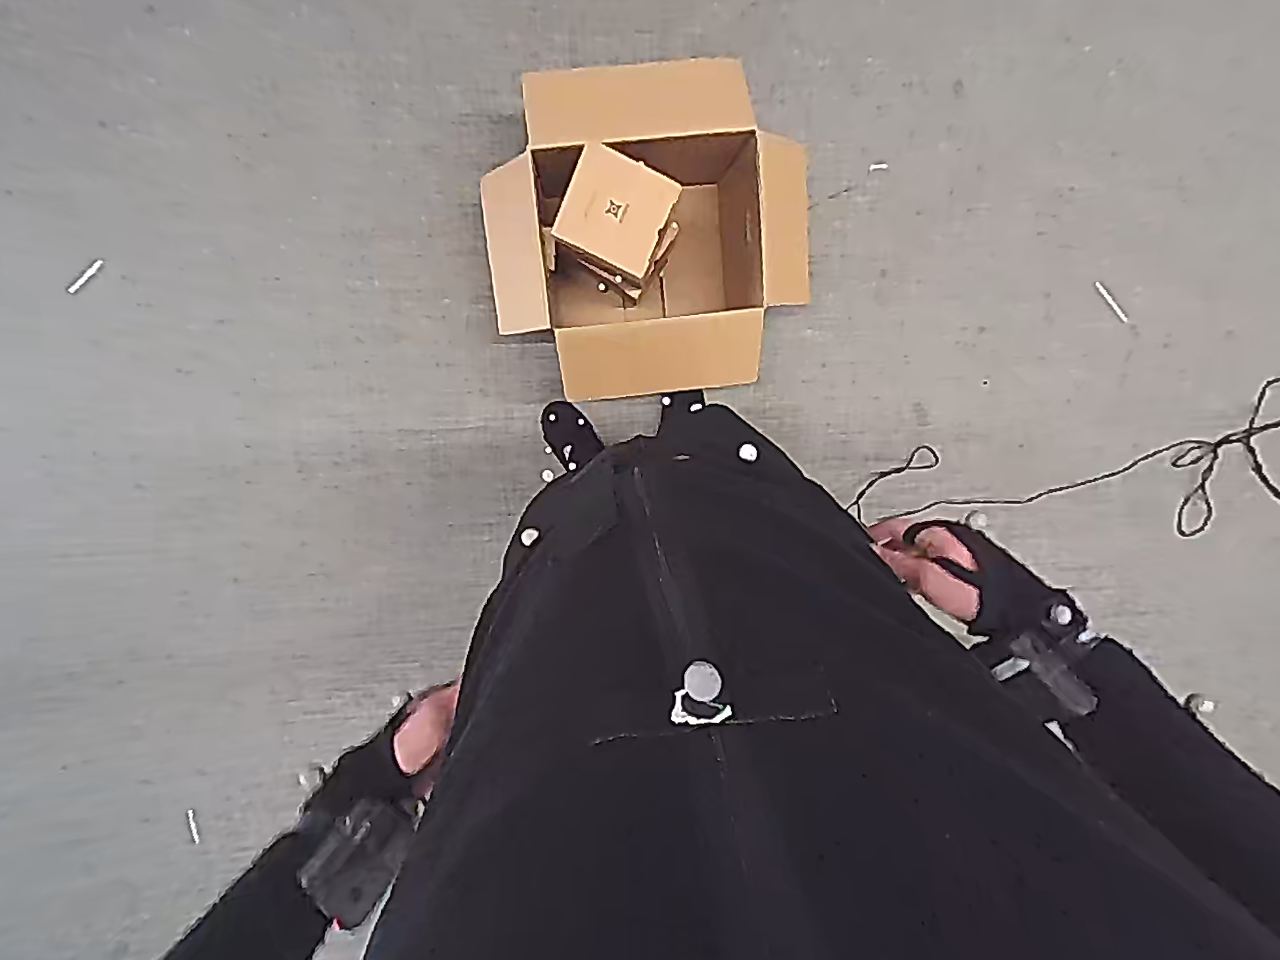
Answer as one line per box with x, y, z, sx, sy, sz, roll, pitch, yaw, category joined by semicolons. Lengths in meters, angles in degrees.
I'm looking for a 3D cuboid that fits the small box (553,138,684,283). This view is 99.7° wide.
-0.037;-0.479;0.993;0.179;0.176;0.168;25;102;-5;small box
